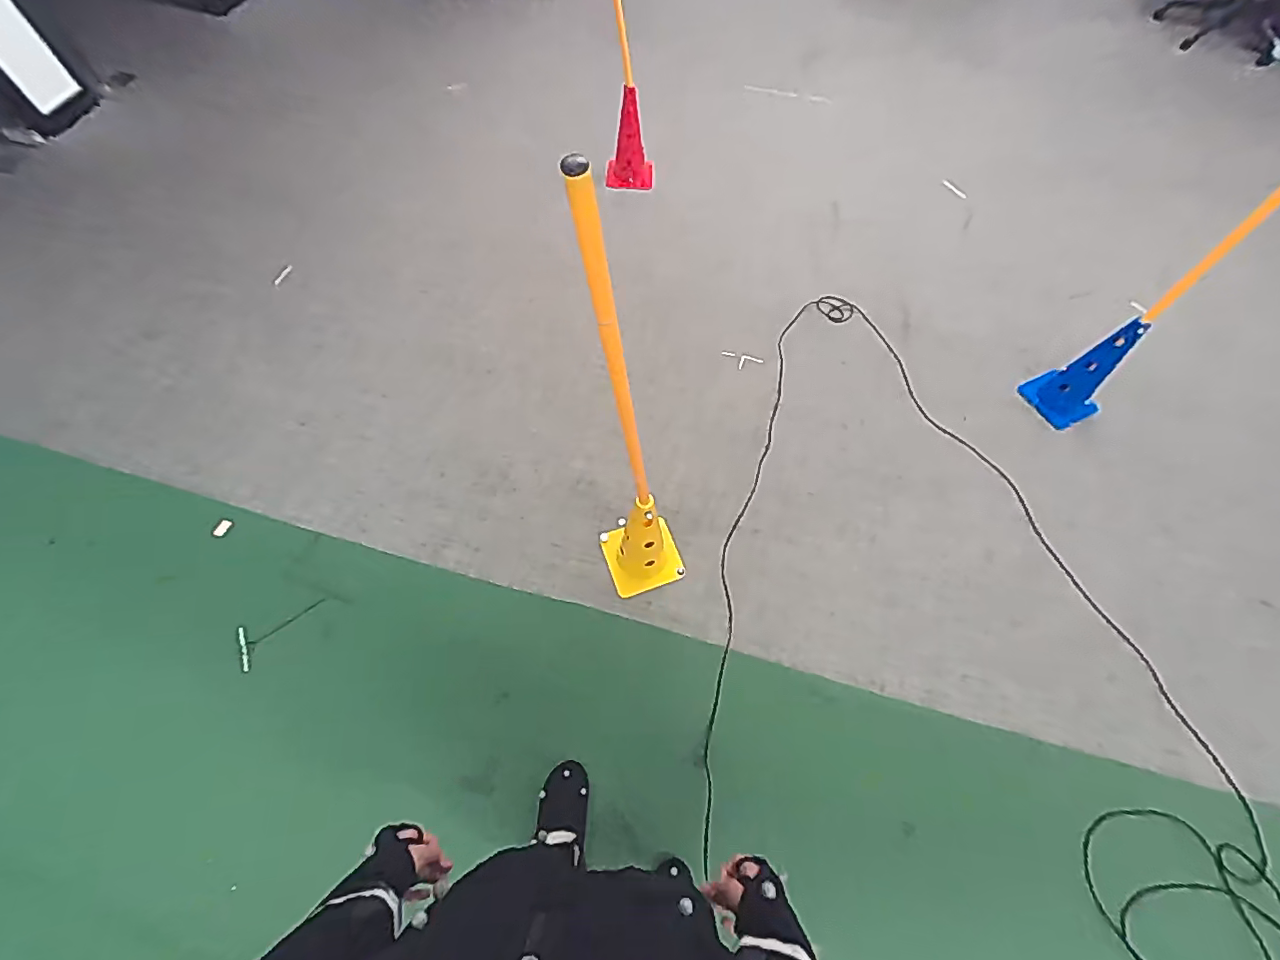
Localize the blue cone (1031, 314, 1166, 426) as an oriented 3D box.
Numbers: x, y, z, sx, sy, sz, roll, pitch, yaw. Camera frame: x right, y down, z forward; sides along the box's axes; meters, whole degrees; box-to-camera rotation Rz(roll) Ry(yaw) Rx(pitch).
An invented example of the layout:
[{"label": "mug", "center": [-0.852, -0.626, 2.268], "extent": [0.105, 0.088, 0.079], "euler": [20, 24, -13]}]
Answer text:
[{"label": "blue cone", "center": [1.422, -0.359, 1.654], "extent": [0.193, 0.380, 0.192], "euler": [-25, 64, -15]}]
